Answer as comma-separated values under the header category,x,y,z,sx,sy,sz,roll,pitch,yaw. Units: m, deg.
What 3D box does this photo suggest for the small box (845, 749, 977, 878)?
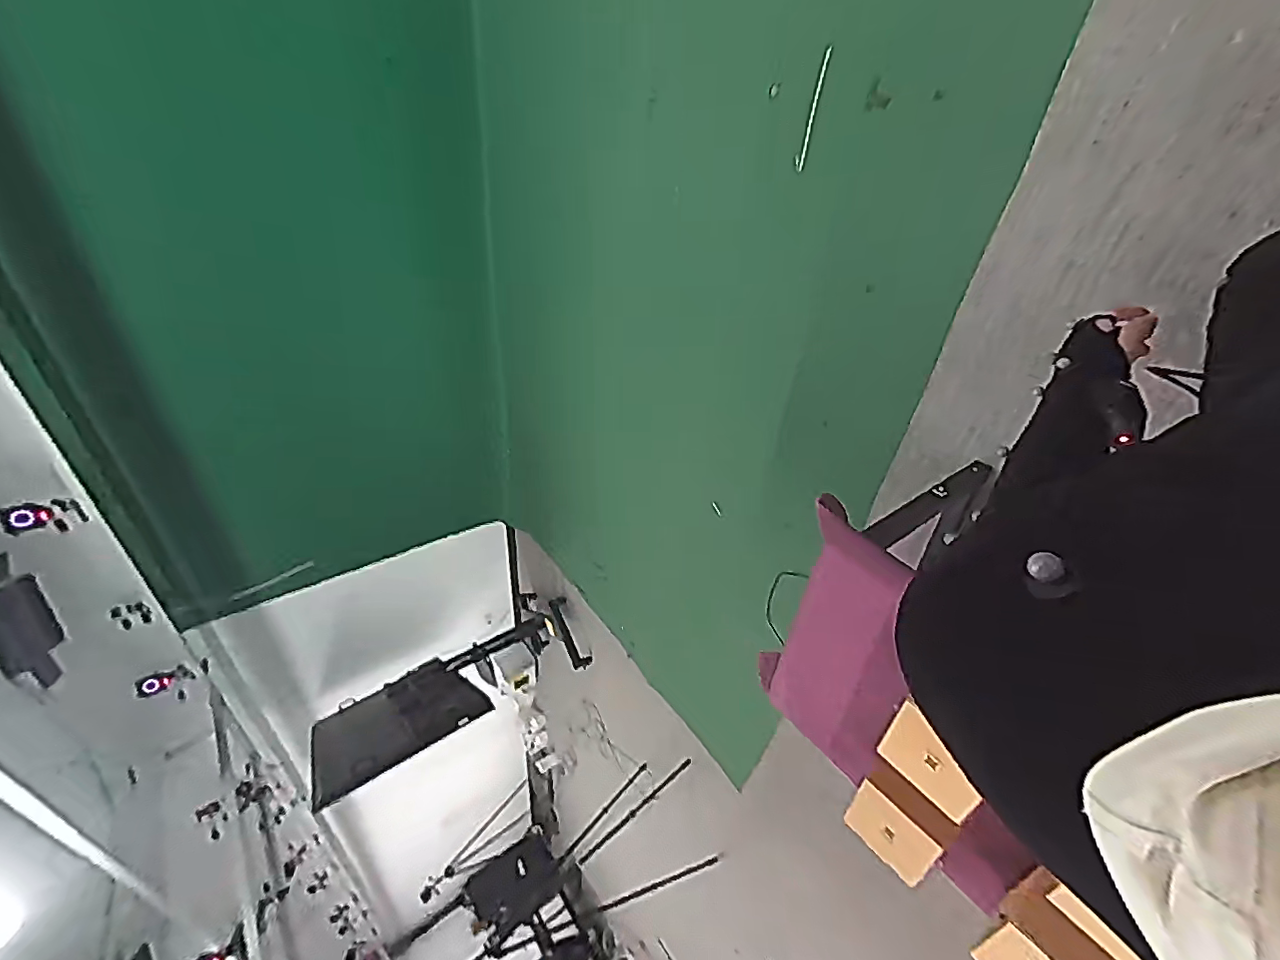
category,x,y,z,sx,sy,sz,roll,pitch,yaw
small box,0.569,0.673,1.138,0.168,0.176,0.179,37,135,39

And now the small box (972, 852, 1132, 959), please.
category,x,y,z,sx,sy,sz,roll,pitch,yaw
small box,0.741,0.815,0.962,0.168,0.176,0.179,38,137,39

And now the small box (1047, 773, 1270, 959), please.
category,x,y,z,sx,sy,sz,roll,pitch,yaw
small box,0.760,0.583,0.797,0.168,0.176,0.179,38,137,39

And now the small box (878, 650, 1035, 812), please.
category,x,y,z,sx,sy,sz,roll,pitch,yaw
small box,0.579,0.452,0.993,0.168,0.176,0.179,38,137,39
